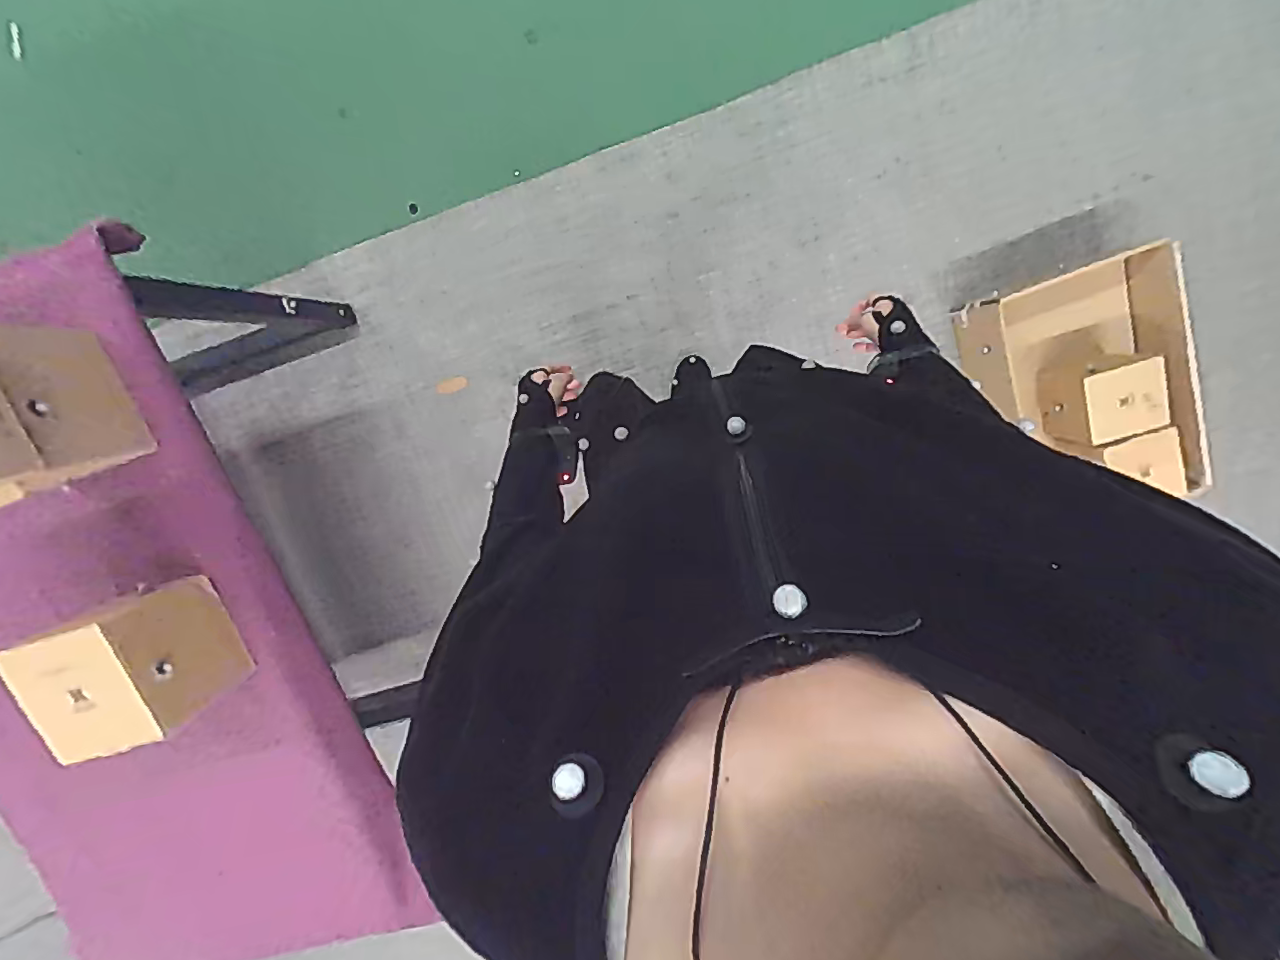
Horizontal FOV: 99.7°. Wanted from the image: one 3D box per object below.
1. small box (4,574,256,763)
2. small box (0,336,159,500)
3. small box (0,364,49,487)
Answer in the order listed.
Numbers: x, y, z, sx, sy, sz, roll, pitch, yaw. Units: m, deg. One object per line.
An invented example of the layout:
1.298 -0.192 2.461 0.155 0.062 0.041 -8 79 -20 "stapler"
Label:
-0.707 0.260 0.776 0.168 0.176 0.179 -16 102 6 "small box"
-0.791 -0.080 0.696 0.168 0.176 0.179 -19 102 6 "small box"
-0.779 -0.045 0.535 0.179 0.176 0.168 -16 103 6 "small box"
